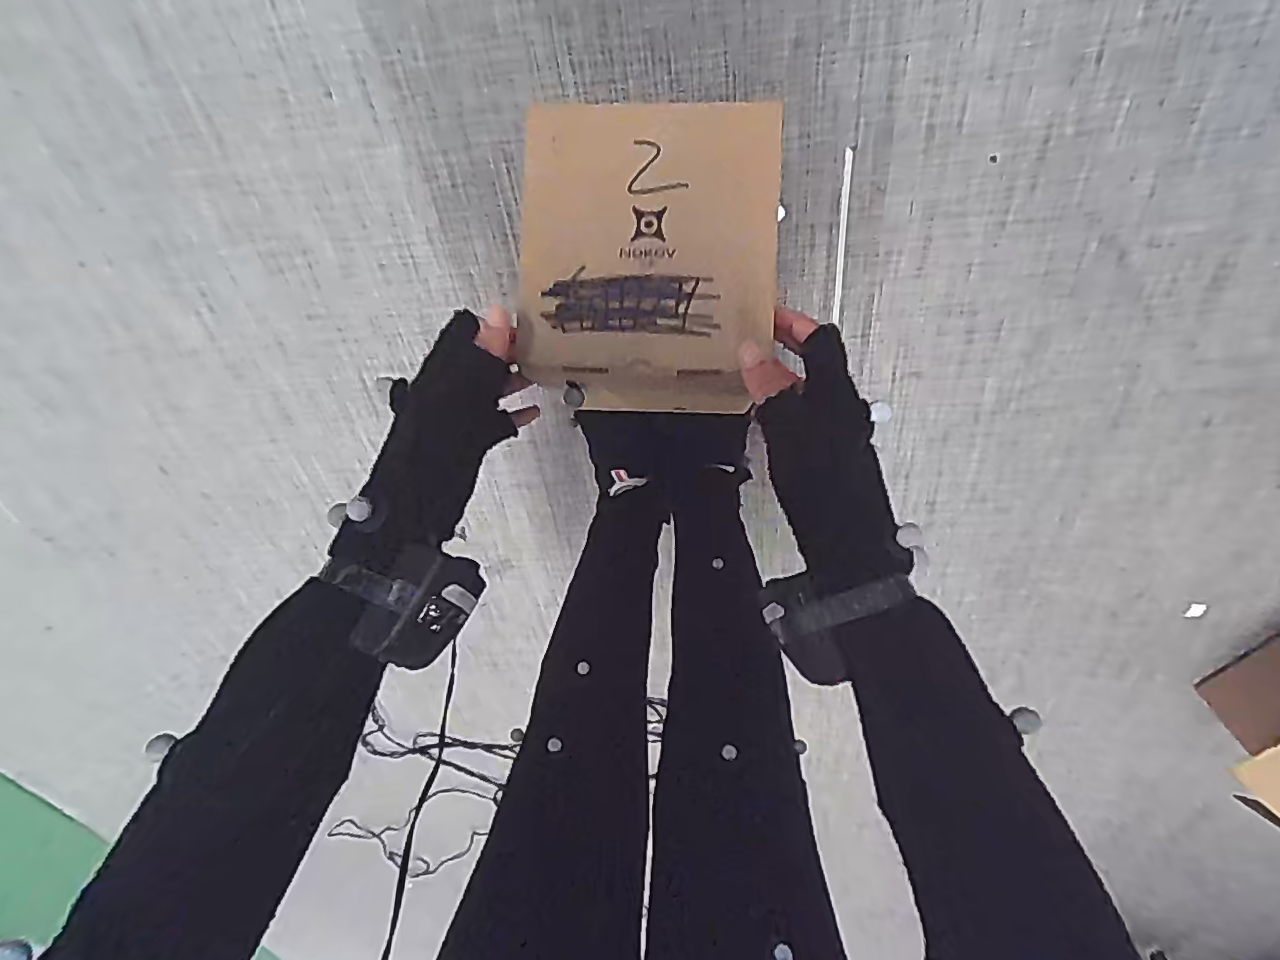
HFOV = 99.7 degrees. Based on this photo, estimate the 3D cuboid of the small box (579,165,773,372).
[{"bbox_3d":[0.046,-0.241,0.606,0.179,0.176,0.168,-7,123,11],"label":"small box"}]
